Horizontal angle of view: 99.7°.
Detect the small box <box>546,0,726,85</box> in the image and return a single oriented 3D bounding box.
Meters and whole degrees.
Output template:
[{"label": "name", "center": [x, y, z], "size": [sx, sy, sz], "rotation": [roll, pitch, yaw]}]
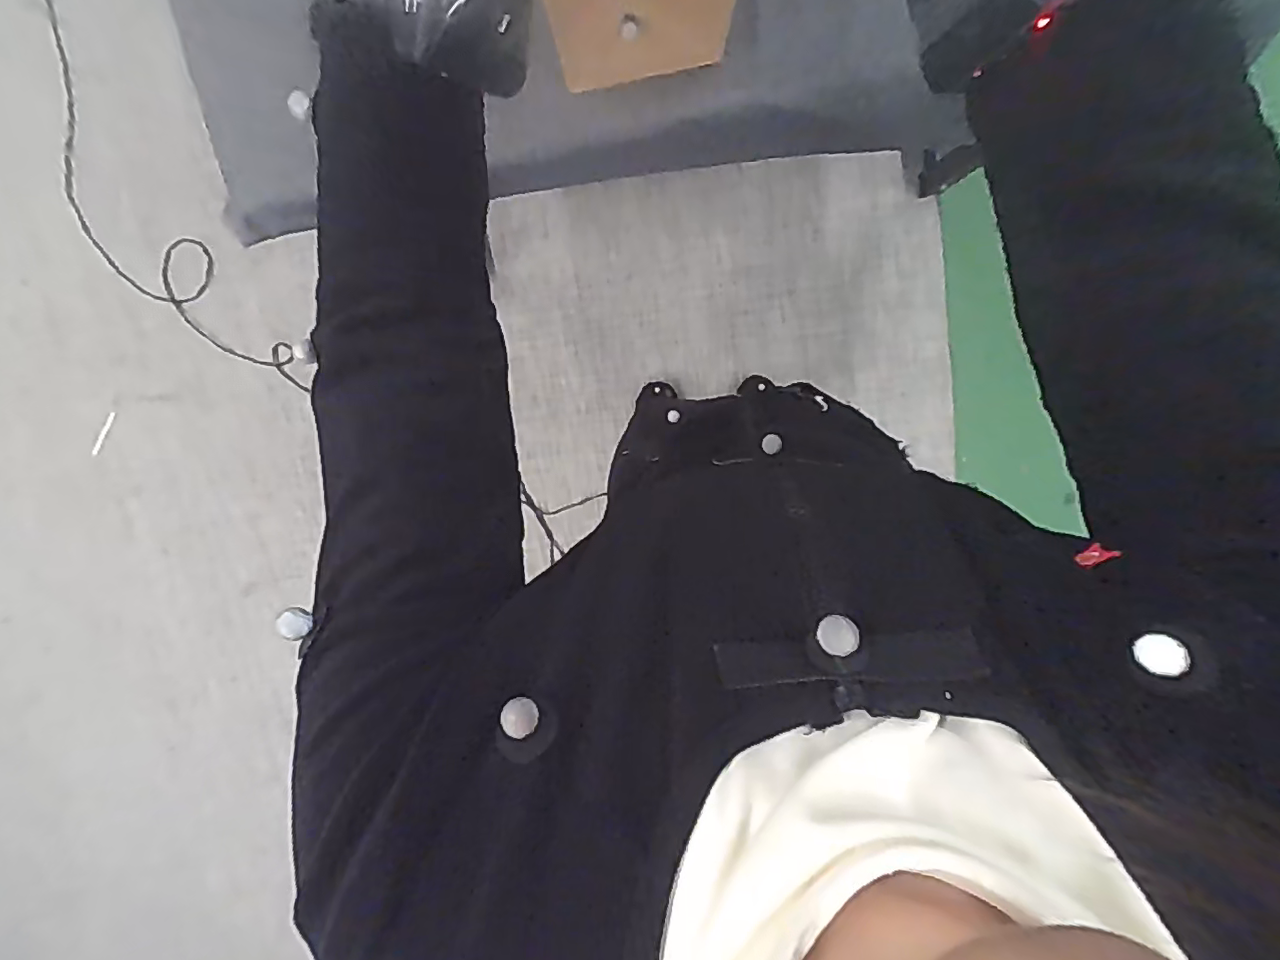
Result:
[{"label": "small box", "center": [-0.012, -0.518, 0.515], "size": [0.179, 0.176, 0.168], "rotation": [-10, 99, 3]}]
